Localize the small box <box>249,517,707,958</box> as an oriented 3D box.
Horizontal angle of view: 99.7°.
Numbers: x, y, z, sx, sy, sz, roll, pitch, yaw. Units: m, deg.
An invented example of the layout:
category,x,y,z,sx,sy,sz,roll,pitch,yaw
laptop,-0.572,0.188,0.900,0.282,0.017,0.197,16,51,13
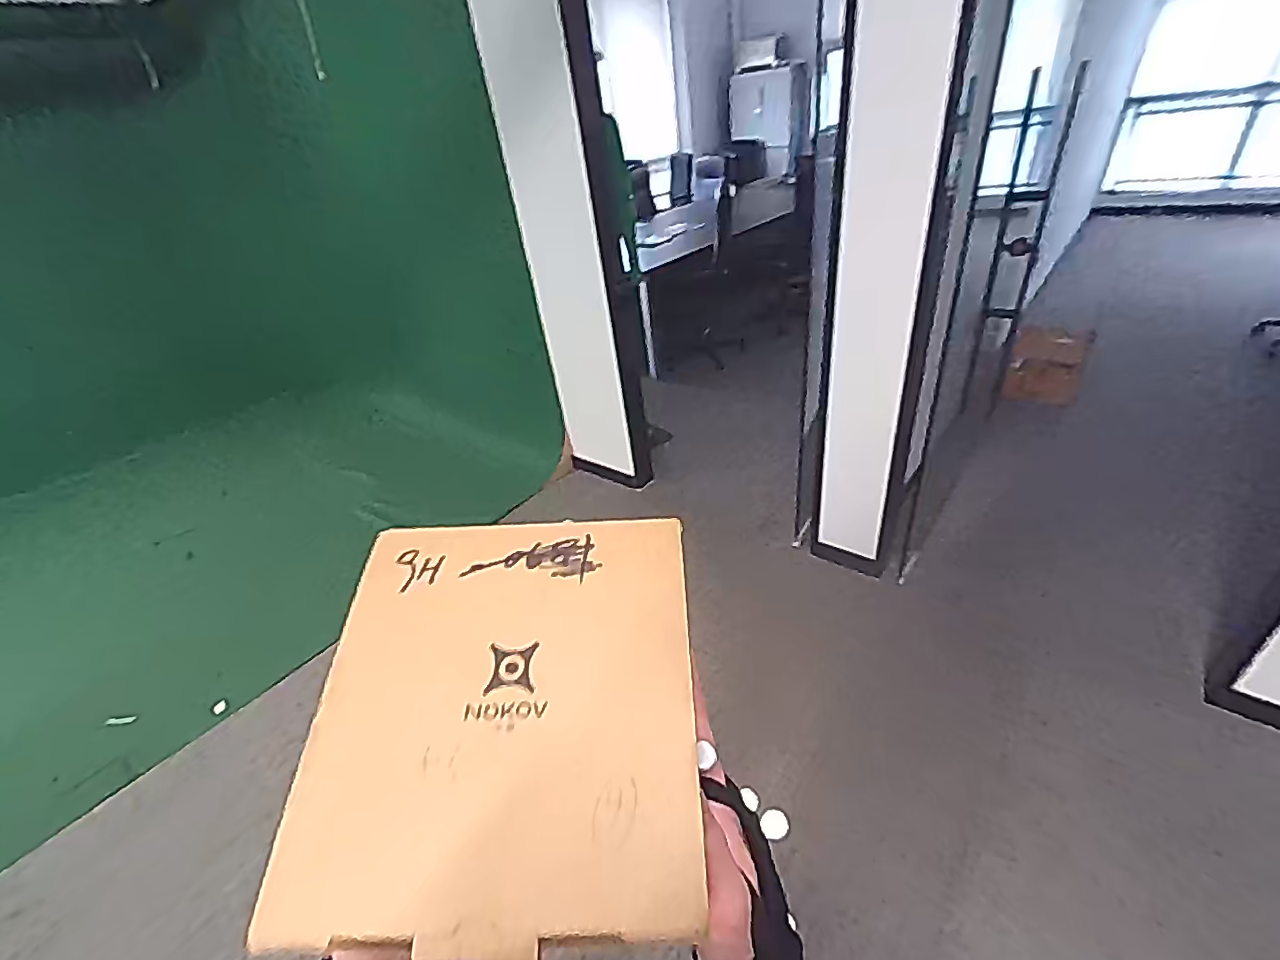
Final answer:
category,x,y,z,sx,sy,sz,roll,pitch,yaw
small box,-0.055,0.139,0.300,0.168,0.176,0.179,-2,52,0
